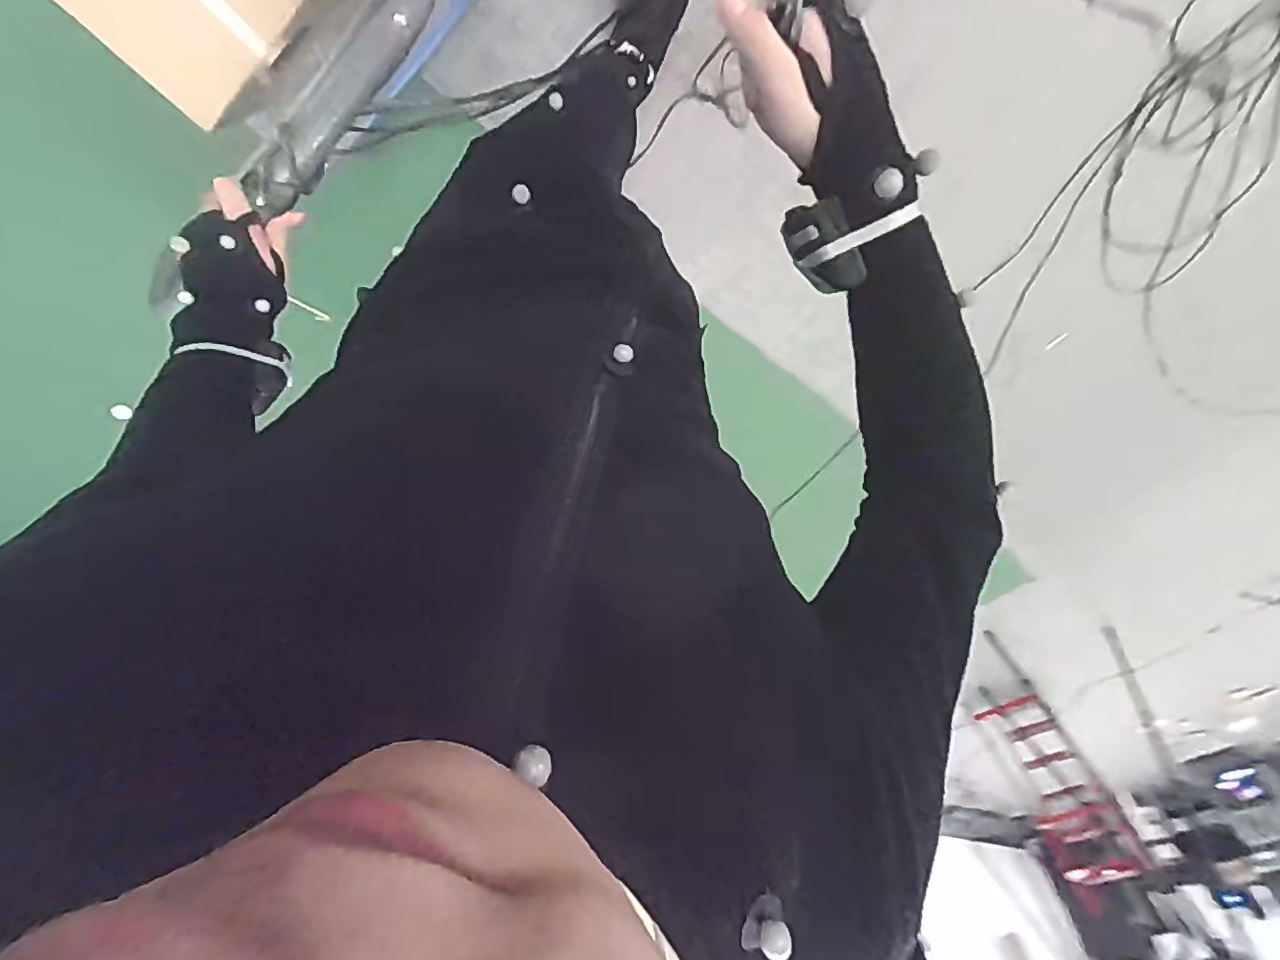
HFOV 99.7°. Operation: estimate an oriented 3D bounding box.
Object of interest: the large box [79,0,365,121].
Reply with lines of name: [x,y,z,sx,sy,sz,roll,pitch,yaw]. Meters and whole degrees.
large box: [-0.623,-0.801,0.728,0.320,0.320,0.408,-32,128,20]
